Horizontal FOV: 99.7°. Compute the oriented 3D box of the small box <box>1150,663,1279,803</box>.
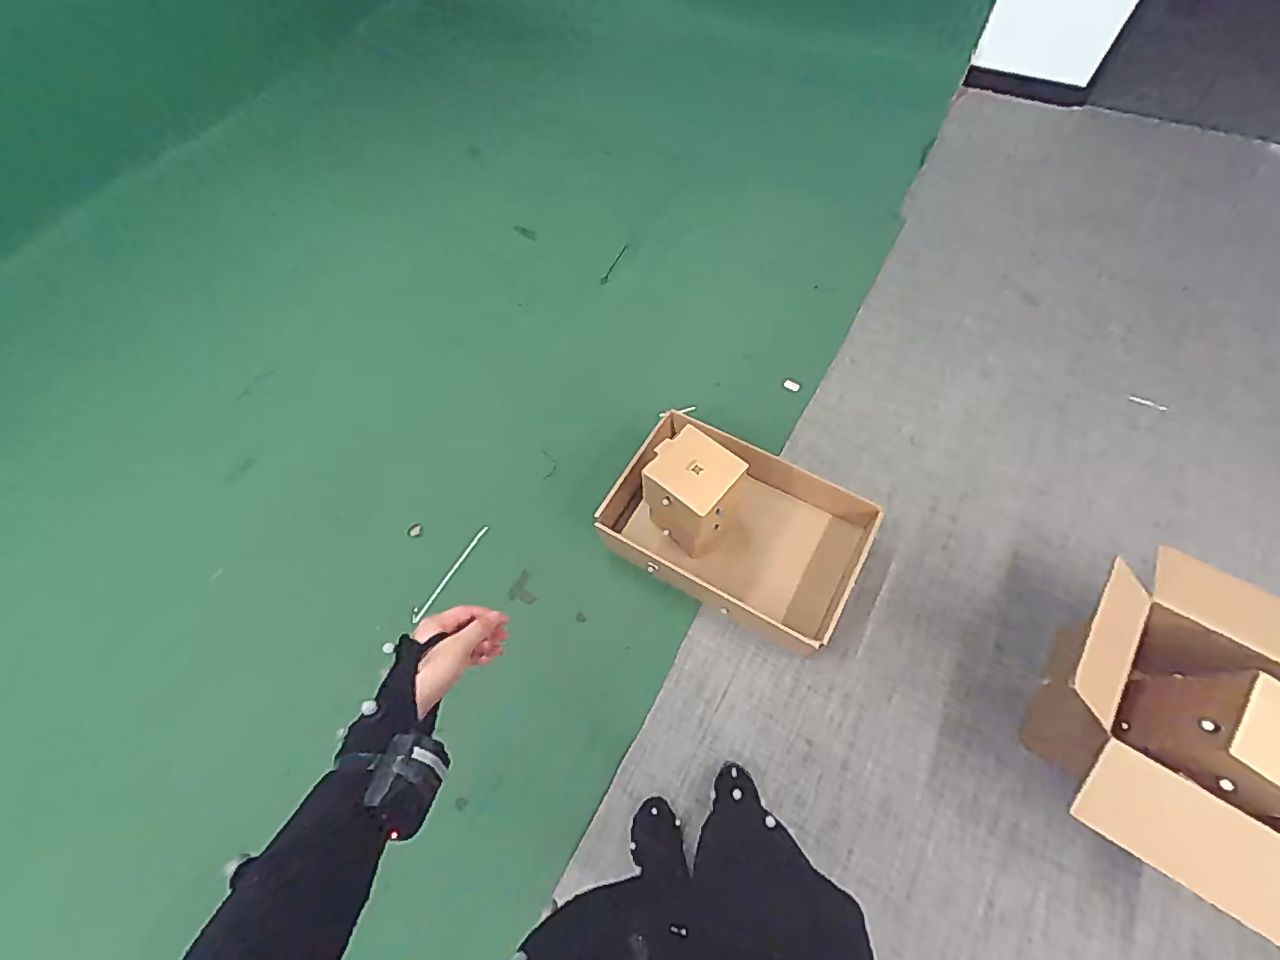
[{"bbox_3d":[1.108,0.468,0.996,0.168,0.176,0.179,37,71,16],"label":"small box"}]

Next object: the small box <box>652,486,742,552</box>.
[{"bbox_3d":[0.141,0.058,1.416,0.179,0.176,0.168,-42,69,-17],"label":"small box"}]

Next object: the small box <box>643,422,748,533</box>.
[{"bbox_3d":[0.126,0.004,1.263,0.179,0.176,0.168,37,70,19],"label":"small box"}]

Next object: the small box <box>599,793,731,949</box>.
[{"bbox_3d":[0.058,0.779,1.095,0.176,0.168,0.179,53,50,-6],"label":"small box"}]
